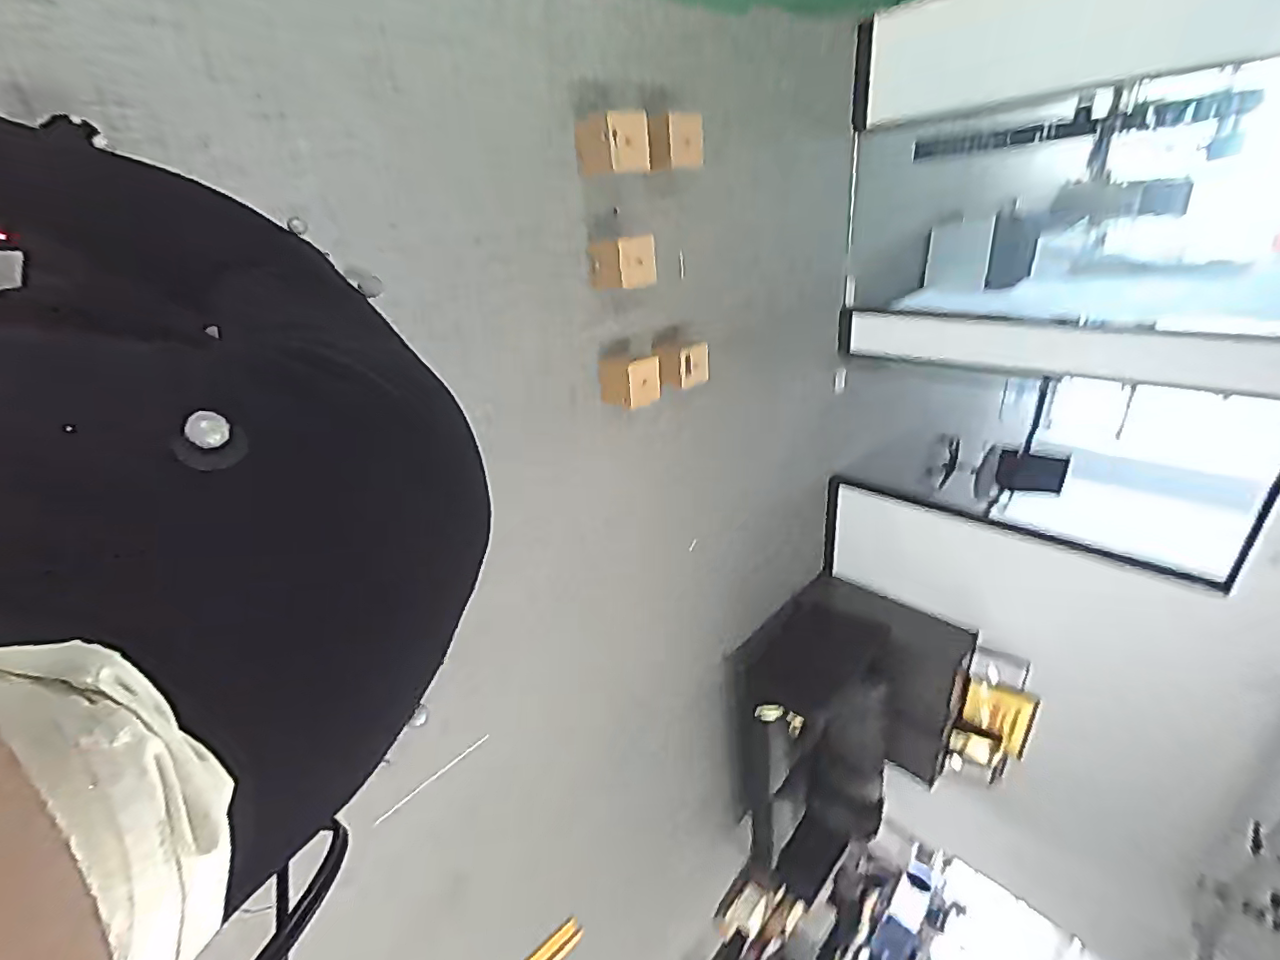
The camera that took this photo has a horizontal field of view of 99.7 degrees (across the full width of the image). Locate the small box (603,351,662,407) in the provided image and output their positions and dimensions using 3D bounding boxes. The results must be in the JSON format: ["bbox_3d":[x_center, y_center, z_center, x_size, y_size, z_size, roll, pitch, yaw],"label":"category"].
[{"bbox_3d":[-0.032,-0.406,2.128,0.168,0.176,0.179,-26,125,-37],"label":"small box"}]

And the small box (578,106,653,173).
[{"bbox_3d":[-0.080,-1.115,1.778,0.179,0.176,0.168,-29,125,-37],"label":"small box"}]

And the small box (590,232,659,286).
[{"bbox_3d":[-0.054,-0.796,1.938,0.179,0.176,0.168,-27,124,-37],"label":"small box"}]
